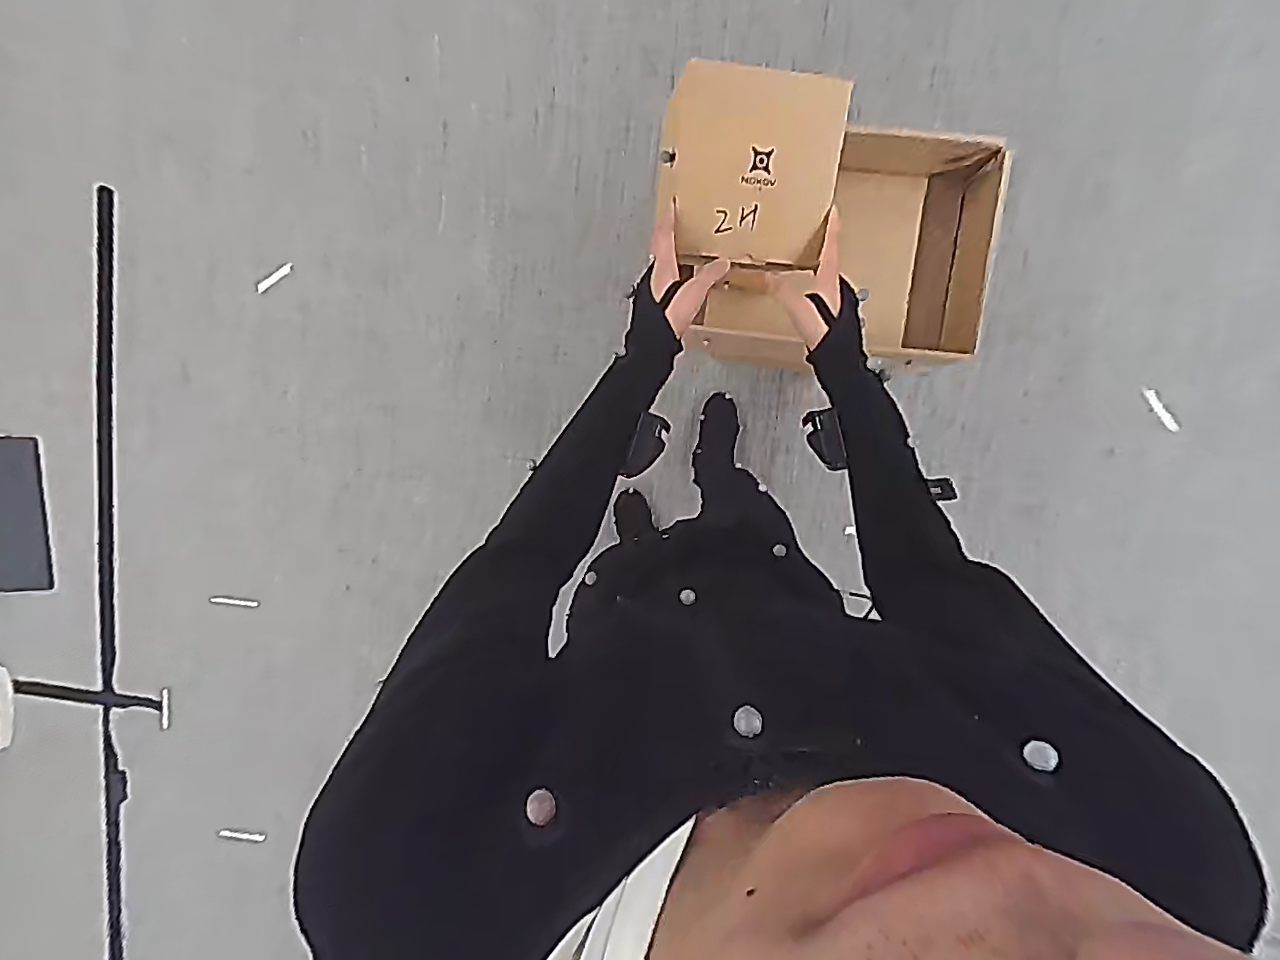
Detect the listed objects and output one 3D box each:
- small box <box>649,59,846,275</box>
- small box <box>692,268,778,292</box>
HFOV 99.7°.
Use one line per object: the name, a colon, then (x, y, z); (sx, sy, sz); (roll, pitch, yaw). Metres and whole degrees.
small box: (0.106, -0.335, 0.618); (0.168, 0.176, 0.179); (3, 110, -7)
small box: (0.193, -0.486, 1.070); (0.168, 0.176, 0.179); (5, 96, 4)
